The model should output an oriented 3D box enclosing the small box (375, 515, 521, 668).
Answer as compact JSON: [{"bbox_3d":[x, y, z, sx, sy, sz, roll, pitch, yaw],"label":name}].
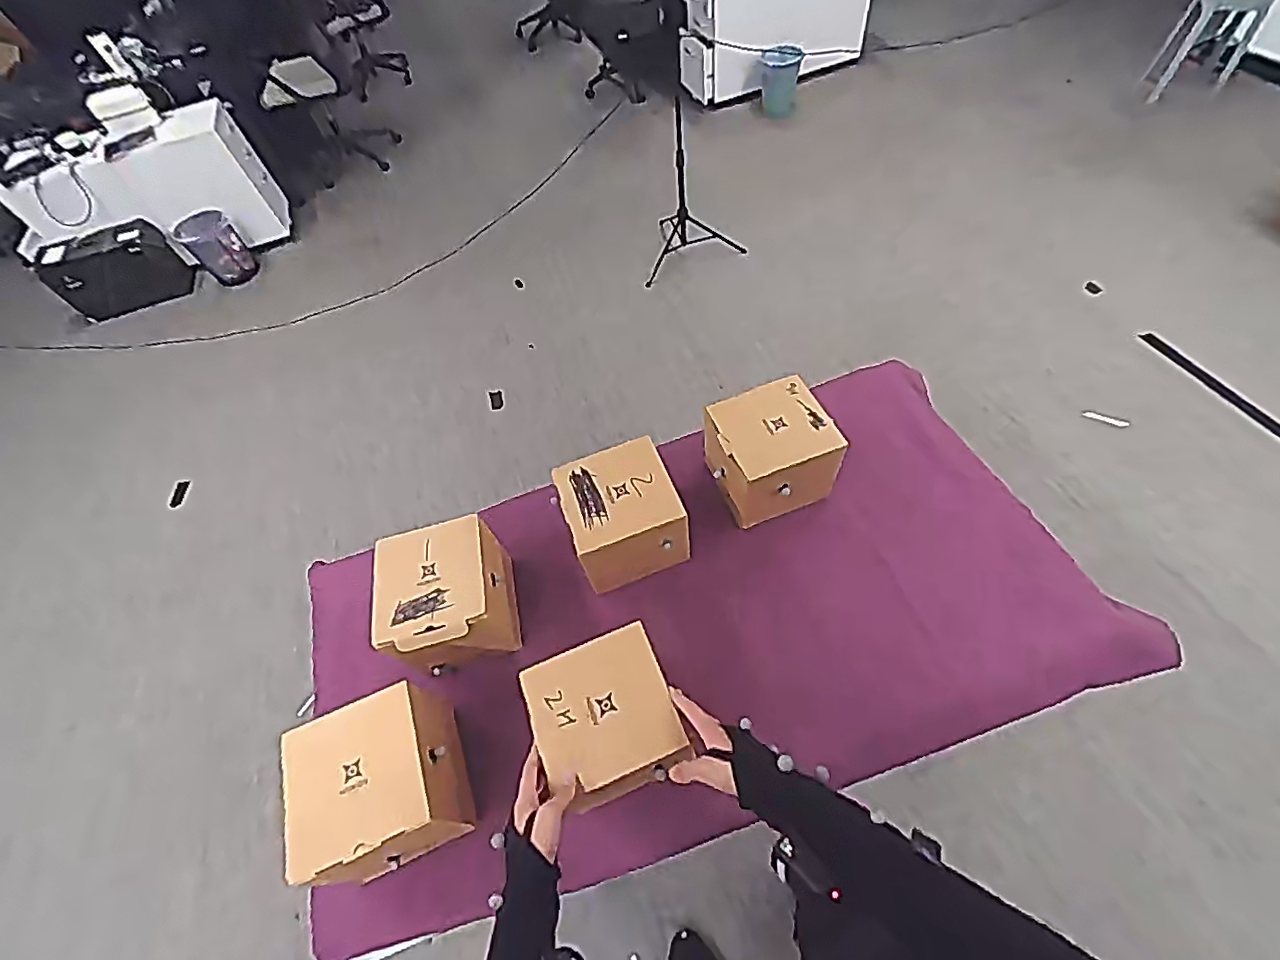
[{"bbox_3d":[-0.298,0.186,0.862,0.168,0.176,0.179,-15,57,-3],"label":"small box"}]

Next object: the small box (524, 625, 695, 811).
[{"bbox_3d":[-0.035,0.325,0.732,0.179,0.176,0.168,-22,57,-5],"label":"small box"}]

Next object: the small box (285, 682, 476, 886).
[{"bbox_3d":[-0.339,0.404,0.722,0.168,0.176,0.179,-23,57,-9],"label":"small box"}]
